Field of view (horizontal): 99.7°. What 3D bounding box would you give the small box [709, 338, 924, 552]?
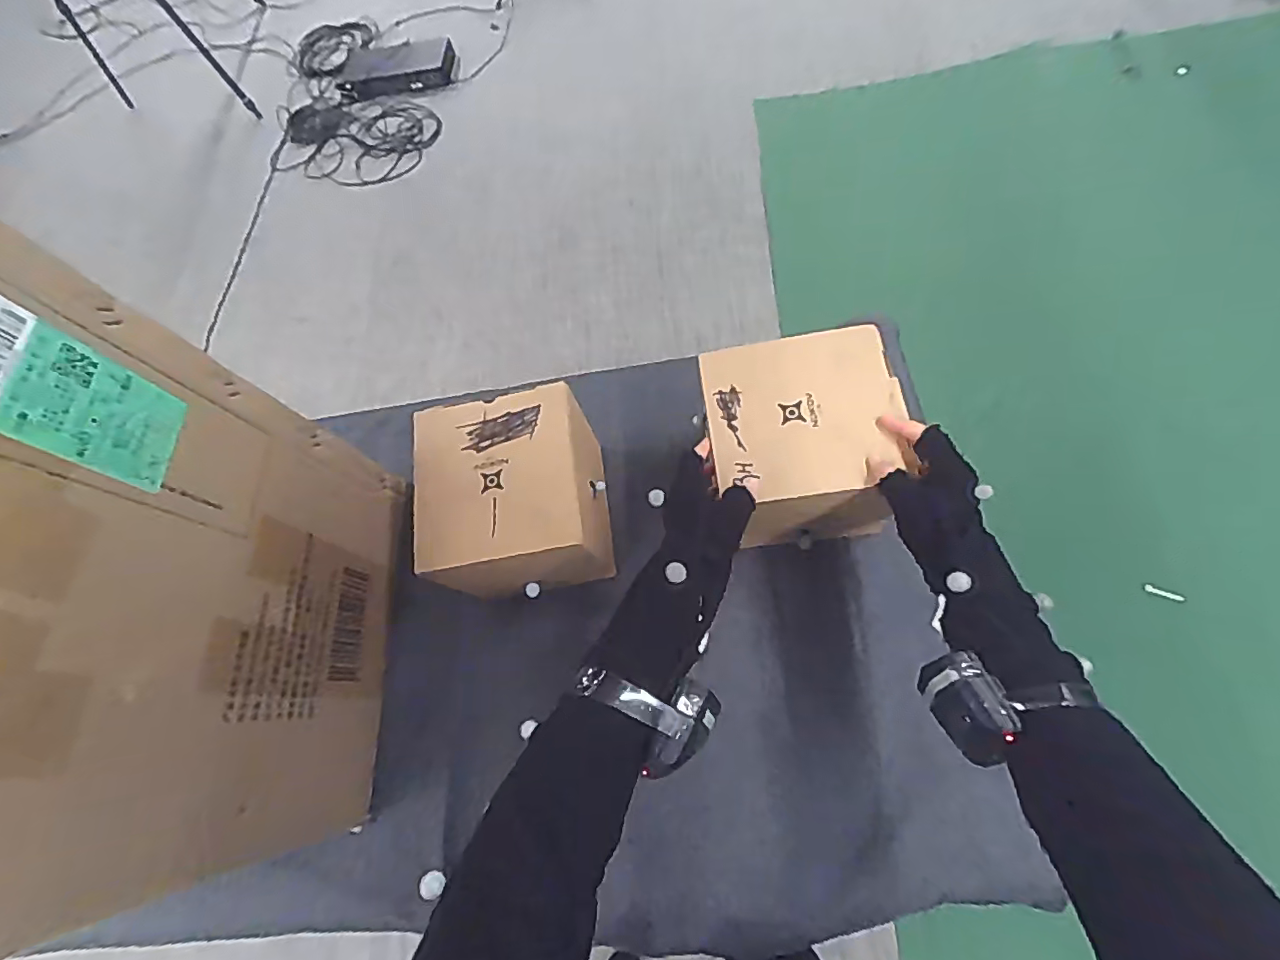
[{"bbox_3d":[0.170,-0.027,0.584,0.179,0.176,0.168,-8,68,6],"label":"small box"}]
